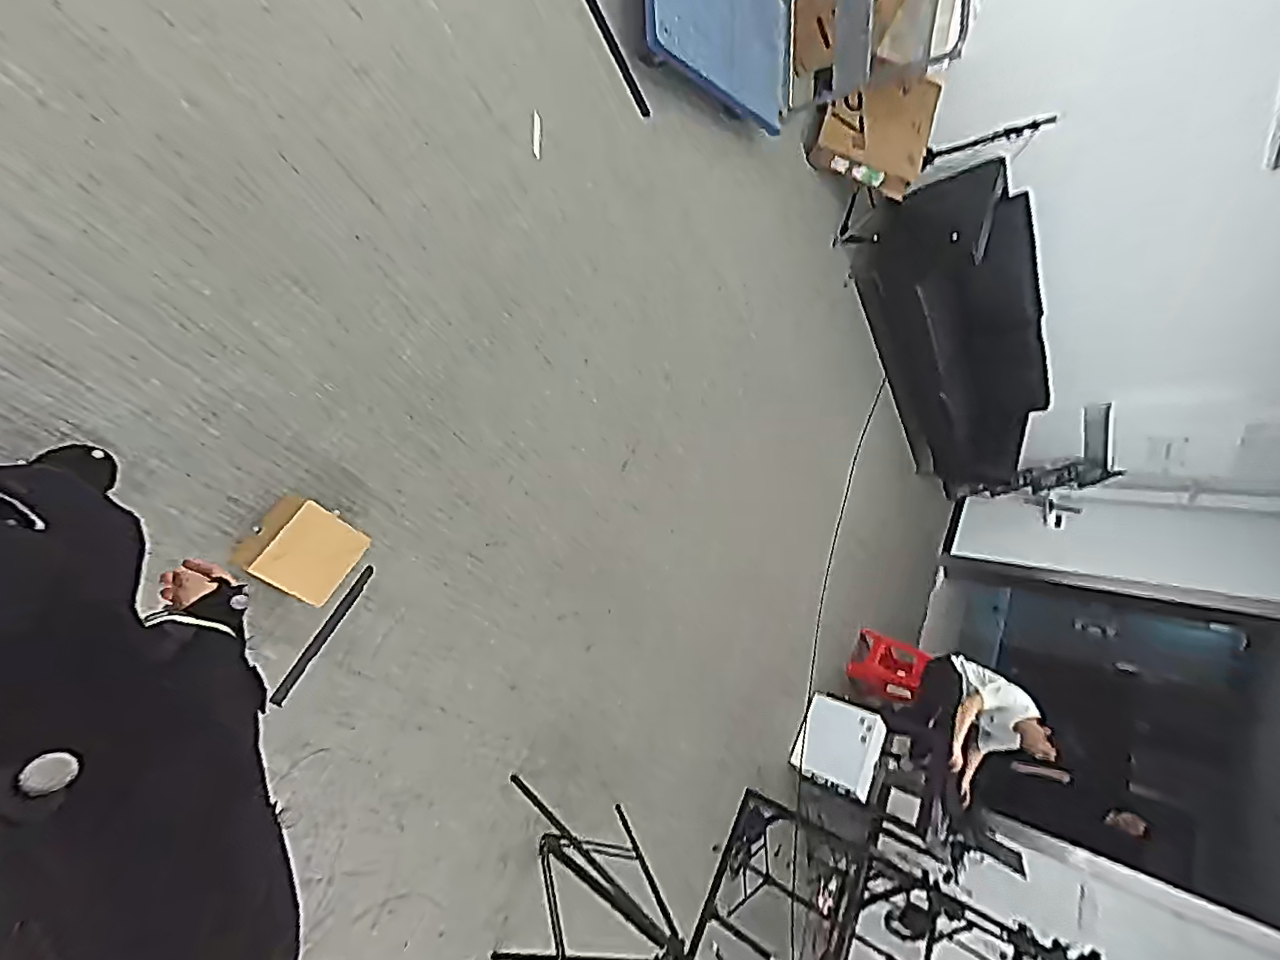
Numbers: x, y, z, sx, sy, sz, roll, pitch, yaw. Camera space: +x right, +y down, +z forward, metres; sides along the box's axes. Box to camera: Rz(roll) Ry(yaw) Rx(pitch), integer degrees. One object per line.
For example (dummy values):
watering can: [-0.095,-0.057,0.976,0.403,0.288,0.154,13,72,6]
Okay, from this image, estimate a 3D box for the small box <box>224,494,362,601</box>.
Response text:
small box: [-0.754,0.149,1.183,0.168,0.176,0.179,51,59,-38]
